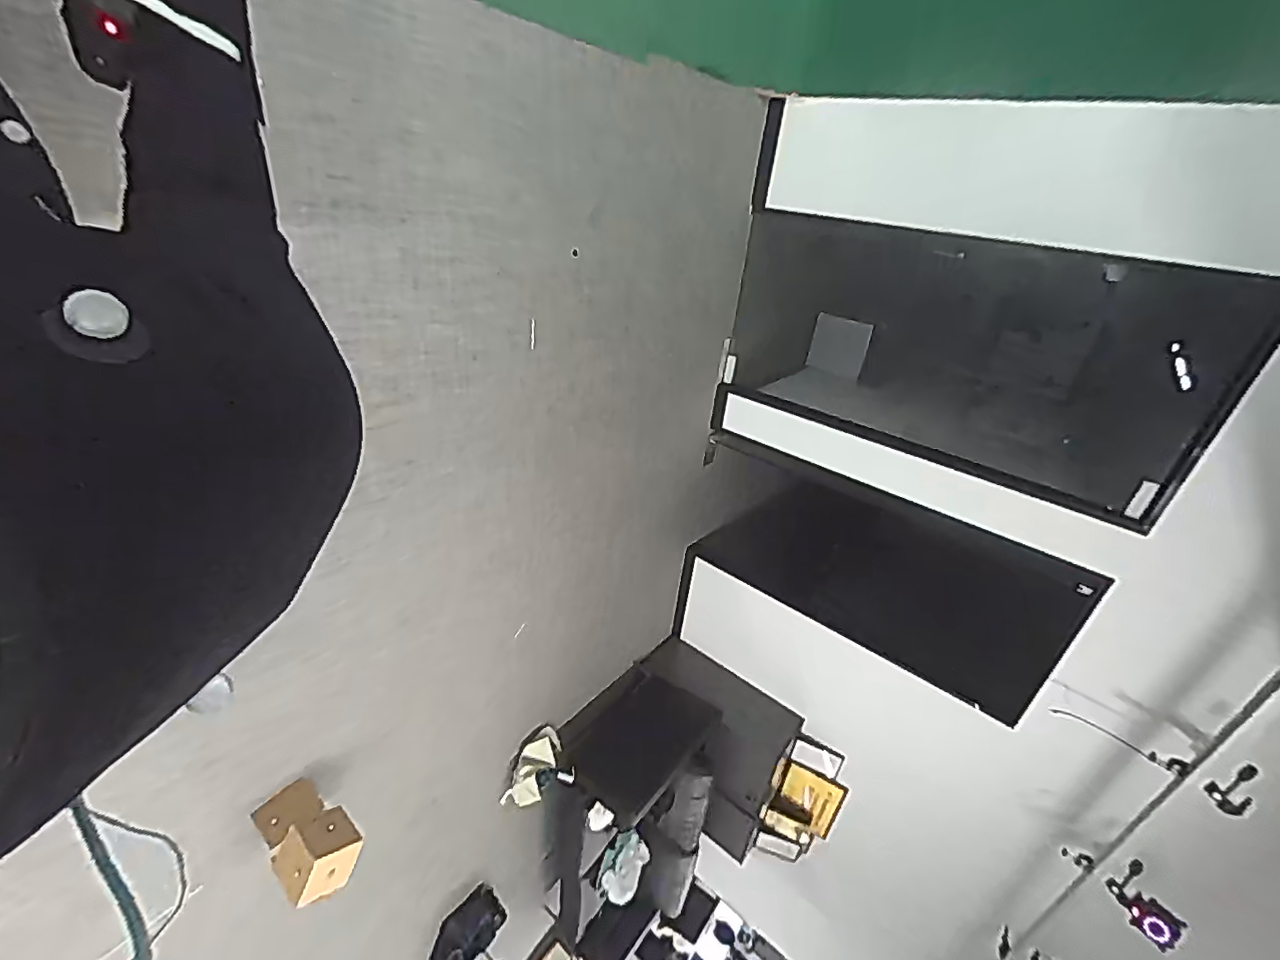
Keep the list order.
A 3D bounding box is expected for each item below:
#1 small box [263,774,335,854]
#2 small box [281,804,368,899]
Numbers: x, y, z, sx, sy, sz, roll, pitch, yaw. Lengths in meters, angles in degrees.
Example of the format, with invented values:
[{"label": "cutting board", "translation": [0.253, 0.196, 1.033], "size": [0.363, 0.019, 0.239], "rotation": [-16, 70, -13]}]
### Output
[{"label": "small box", "translation": [-1.160, 1.166, 1.856], "size": [0.179, 0.176, 0.168], "rotation": [-33, 138, -42]}, {"label": "small box", "translation": [-1.040, 1.206, 1.778], "size": [0.168, 0.176, 0.179], "rotation": [17, 98, -59]}]
